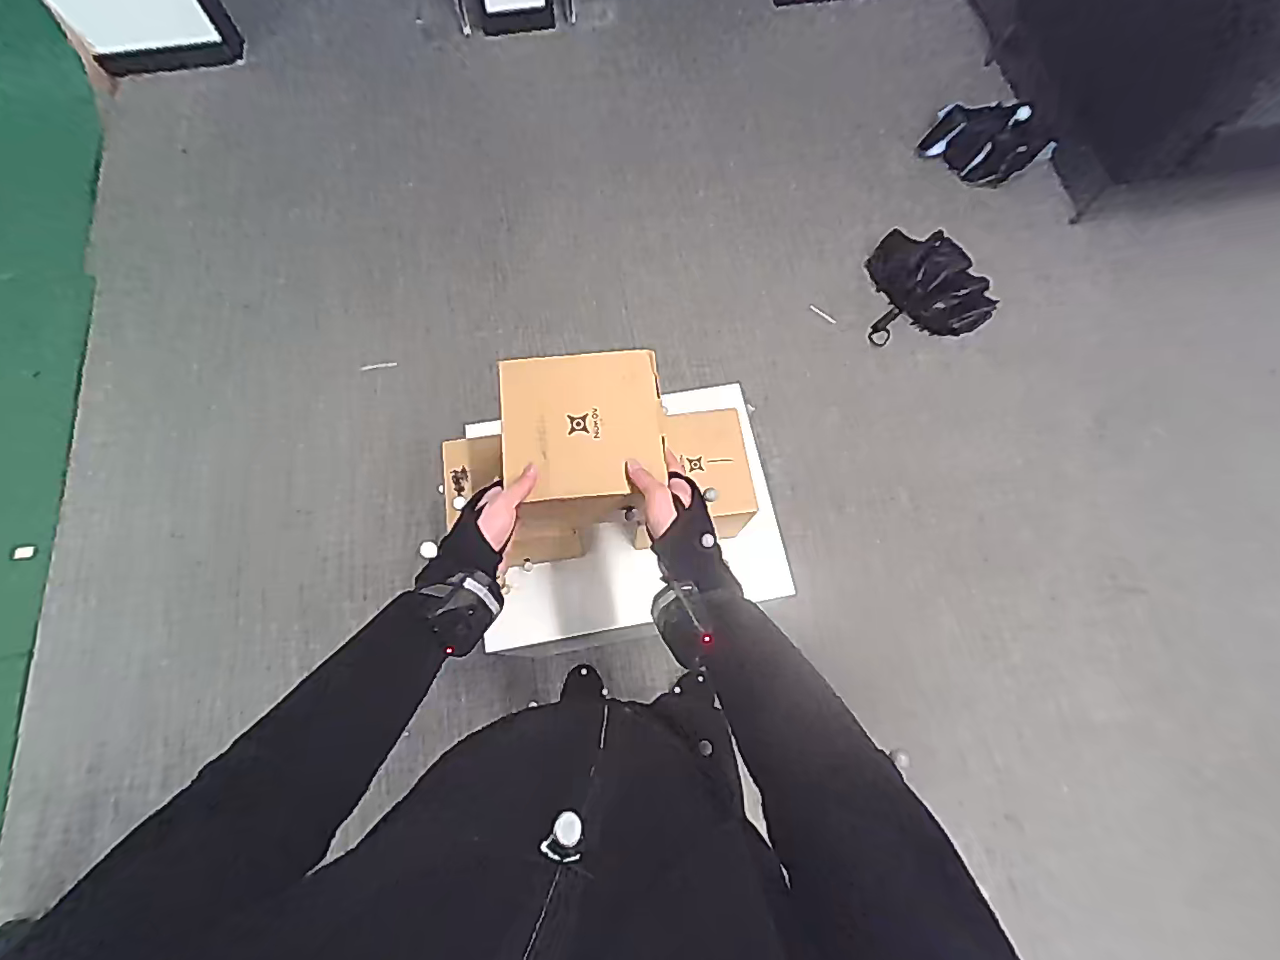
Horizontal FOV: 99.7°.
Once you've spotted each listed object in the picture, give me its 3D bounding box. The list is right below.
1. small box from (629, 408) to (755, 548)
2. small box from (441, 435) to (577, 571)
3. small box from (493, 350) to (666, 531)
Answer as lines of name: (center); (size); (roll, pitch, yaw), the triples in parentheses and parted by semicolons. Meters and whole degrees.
small box: (0.064, 0.004, 0.849); (0.179, 0.176, 0.168); (-7, 72, -4)
small box: (-0.193, 0.036, 0.833); (0.179, 0.176, 0.168); (-8, 71, -7)
small box: (-0.068, -0.038, 0.655); (0.179, 0.176, 0.168); (-7, 75, -1)
